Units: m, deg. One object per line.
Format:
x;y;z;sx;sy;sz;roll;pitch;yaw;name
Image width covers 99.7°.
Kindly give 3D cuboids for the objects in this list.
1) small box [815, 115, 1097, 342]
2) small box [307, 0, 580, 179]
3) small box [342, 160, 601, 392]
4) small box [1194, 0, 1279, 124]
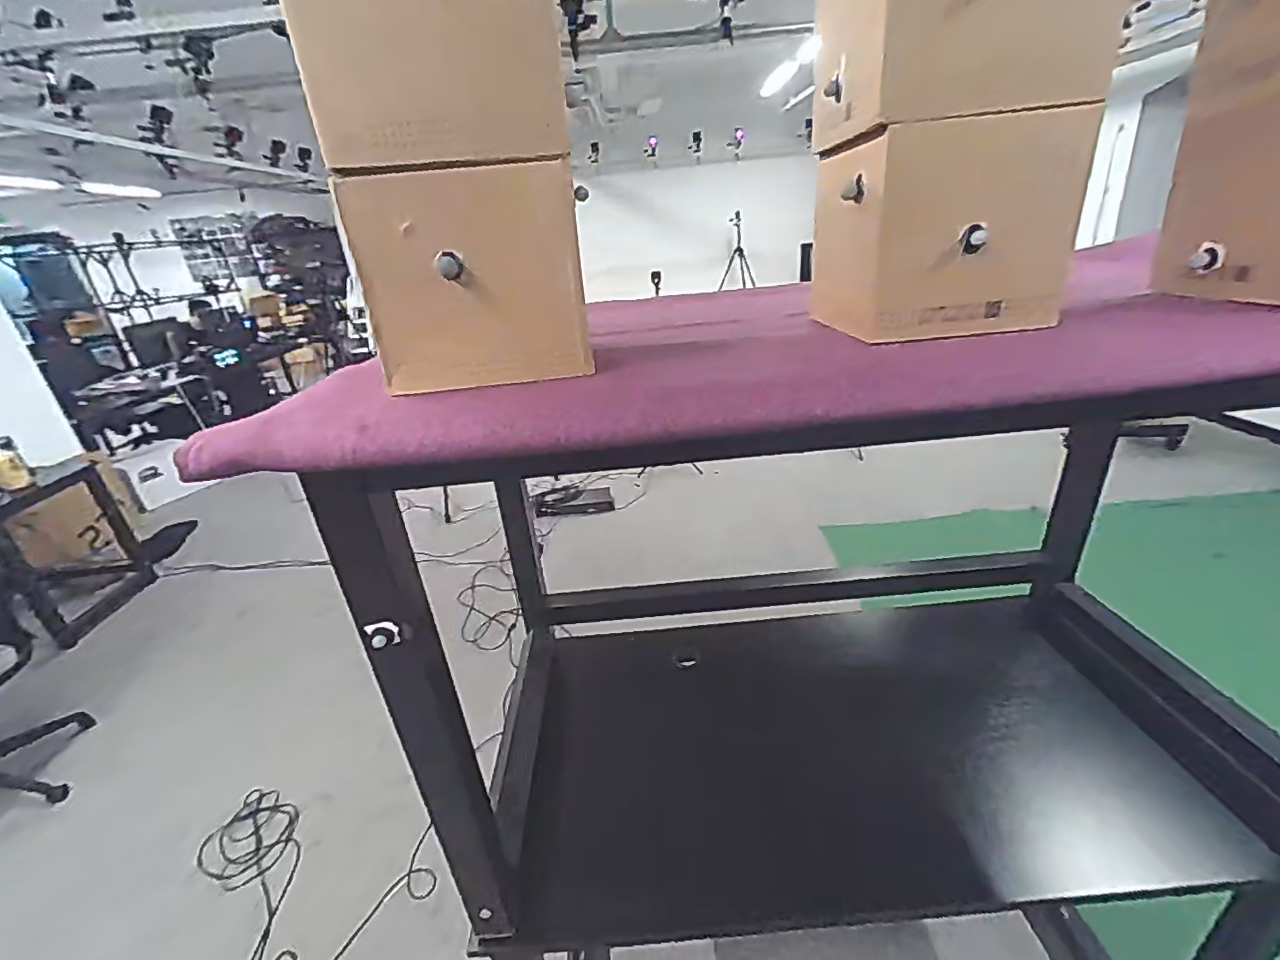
0.278;-0.231;0.525;0.168;0.176;0.179;-4;24;1;small box
-0.148;-0.335;0.436;0.179;0.176;0.168;-7;25;-7;small box
-0.136;-0.186;0.507;0.179;0.176;0.168;-7;26;-4;small box
0.607;-0.398;0.431;0.179;0.176;0.168;-3;22;8;small box
